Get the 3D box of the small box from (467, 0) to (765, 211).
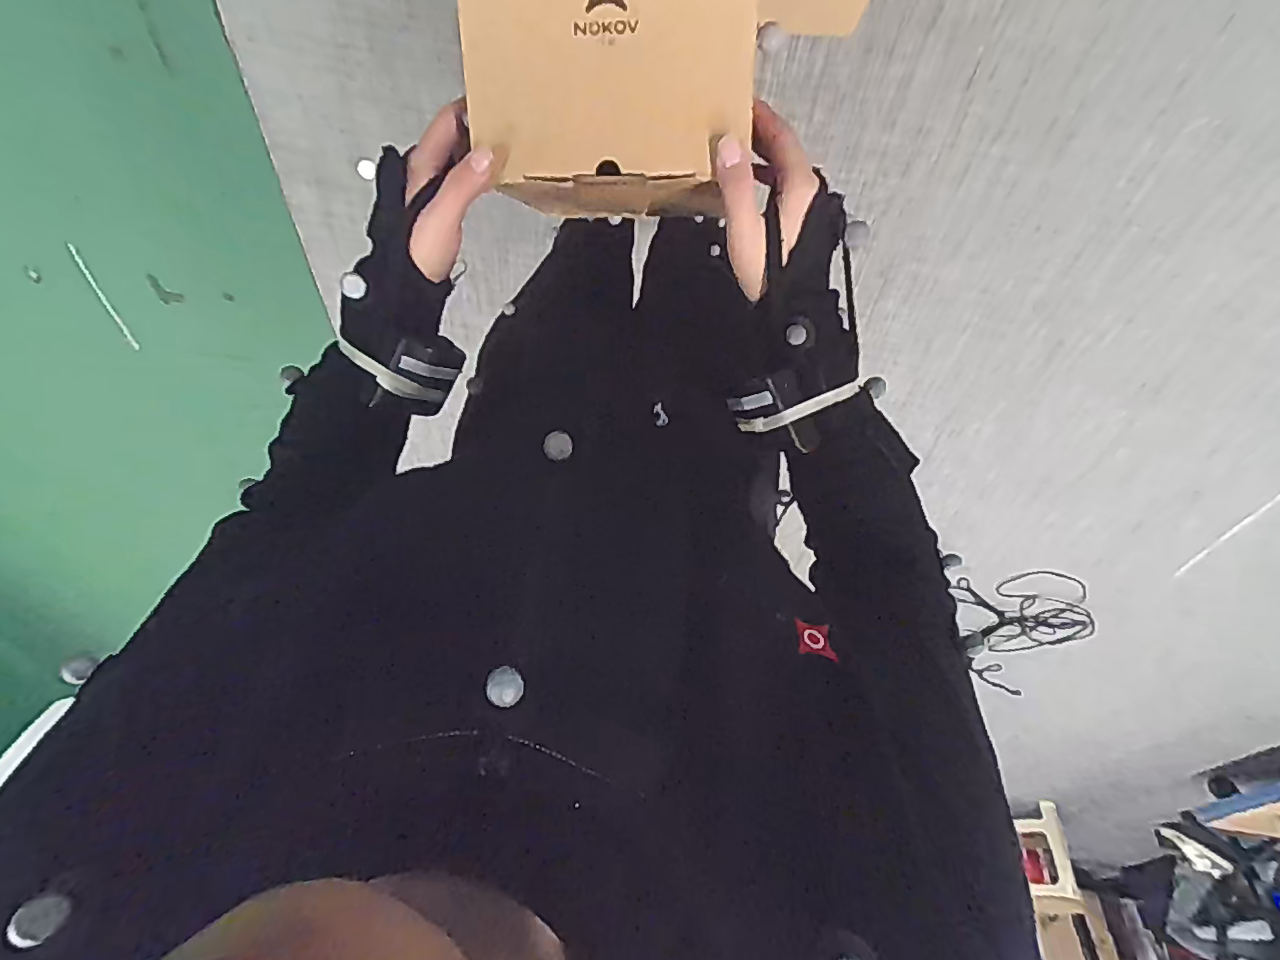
[{"bbox_3d":[-0.008,-0.291,0.366,0.168,0.176,0.179,2,110,5],"label":"small box"}]
